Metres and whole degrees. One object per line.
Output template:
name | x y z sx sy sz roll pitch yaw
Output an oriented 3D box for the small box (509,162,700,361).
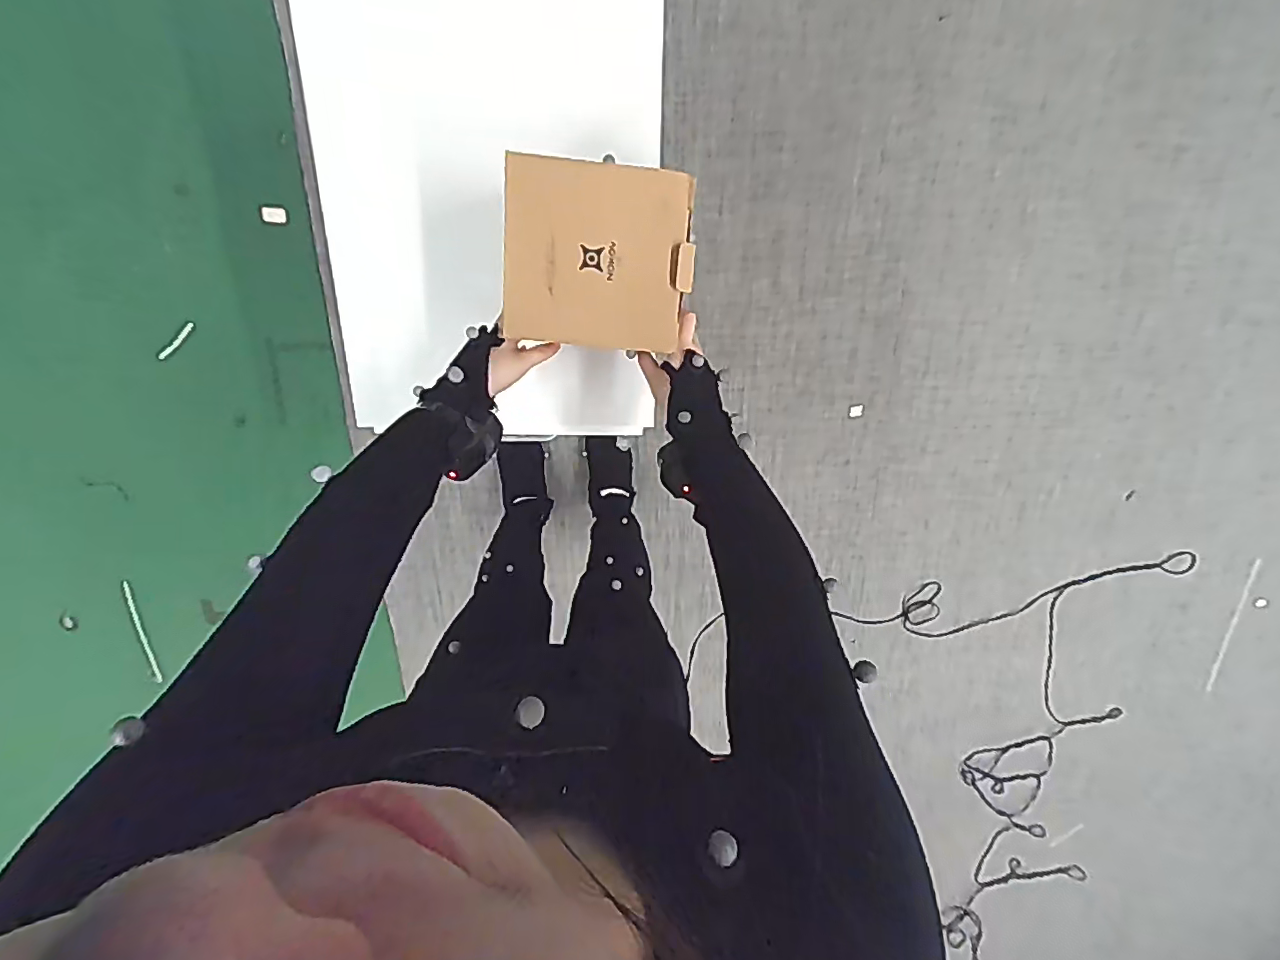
small box | -0.040 -0.228 0.593 0.179 0.176 0.168 4 107 -3
